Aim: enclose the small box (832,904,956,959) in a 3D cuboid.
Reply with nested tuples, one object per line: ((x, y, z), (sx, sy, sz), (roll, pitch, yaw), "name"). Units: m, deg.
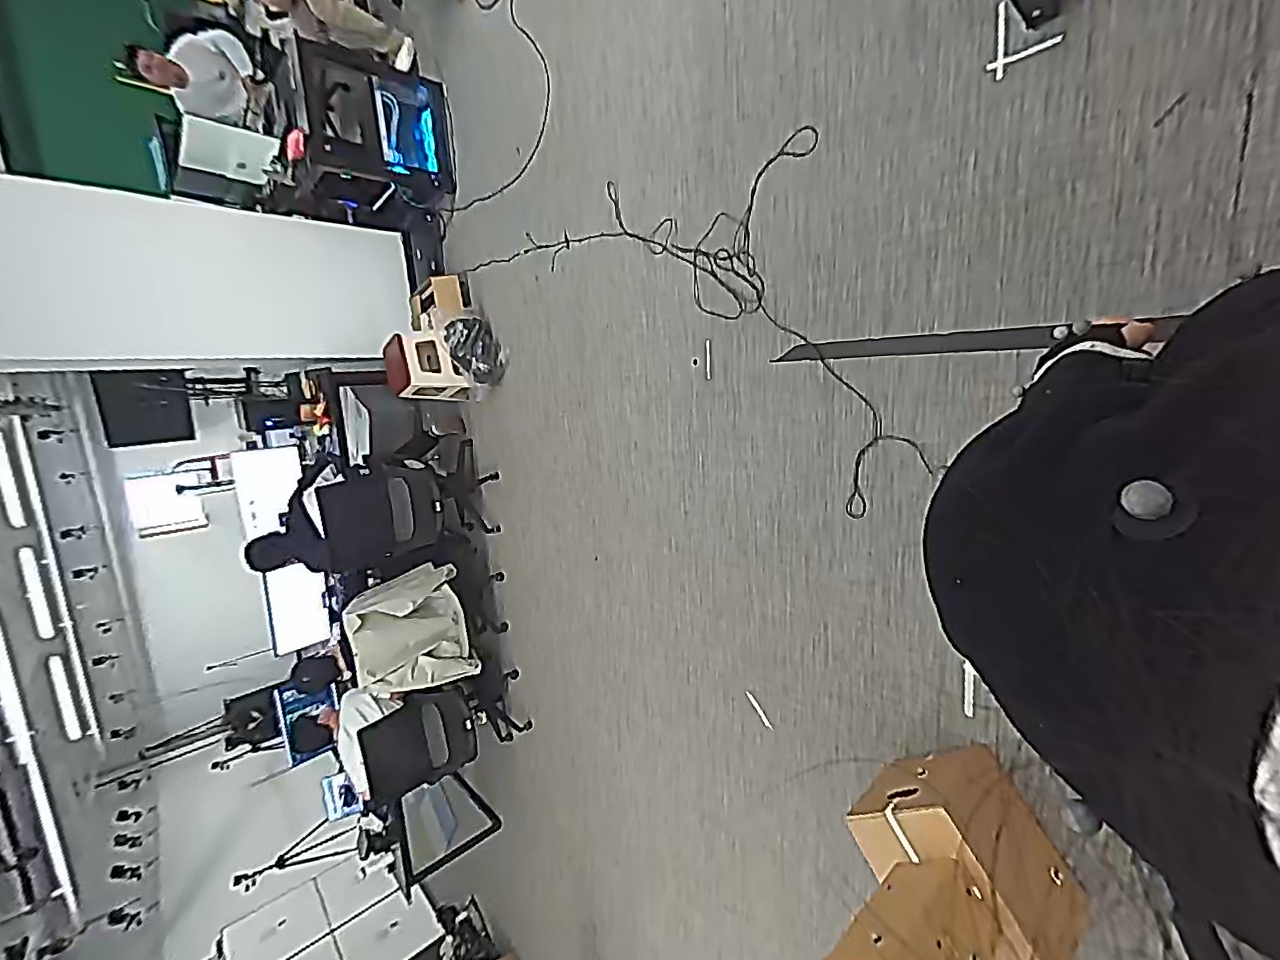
((0.550, 1.031, 1.135), (0.179, 0.176, 0.168), (-48, 63, 43), "small box")

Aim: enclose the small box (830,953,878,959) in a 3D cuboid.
((0.427, 1.055, 1.031), (0.179, 0.176, 0.168), (-48, 64, 45), "small box")
